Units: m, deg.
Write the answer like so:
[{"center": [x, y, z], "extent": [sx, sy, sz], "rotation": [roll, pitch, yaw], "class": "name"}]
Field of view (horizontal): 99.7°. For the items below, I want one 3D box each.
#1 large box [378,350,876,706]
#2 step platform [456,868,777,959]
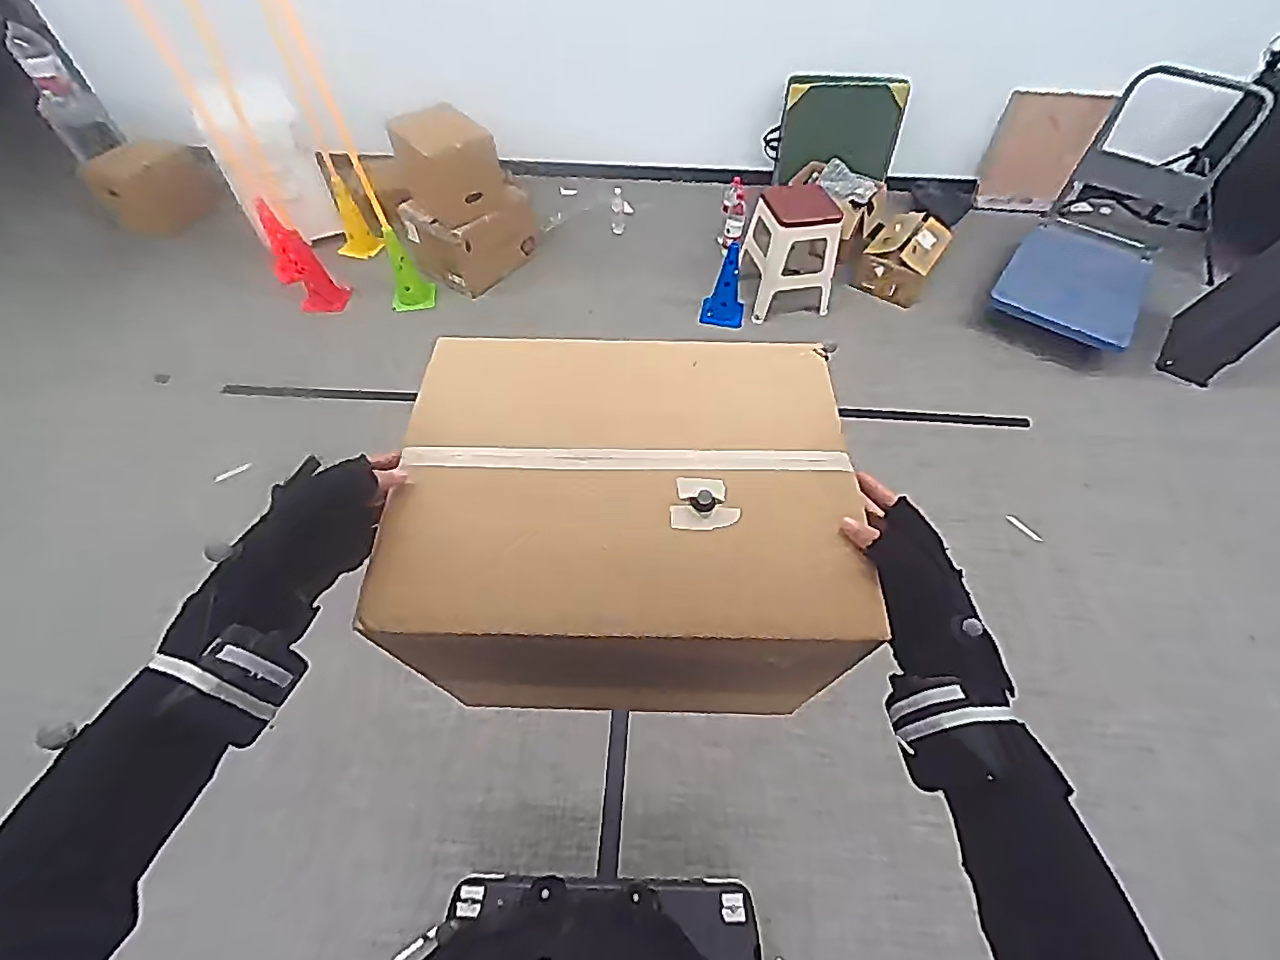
[{"center": [-0.012, 0.070, 0.629], "extent": [0.408, 0.320, 0.320], "rotation": [1, 58, 0], "class": "large box"}, {"center": [-0.050, 1.030, 1.182], "extent": [0.684, 0.204, 0.286], "rotation": [2, 54, -1], "class": "step platform"}]
